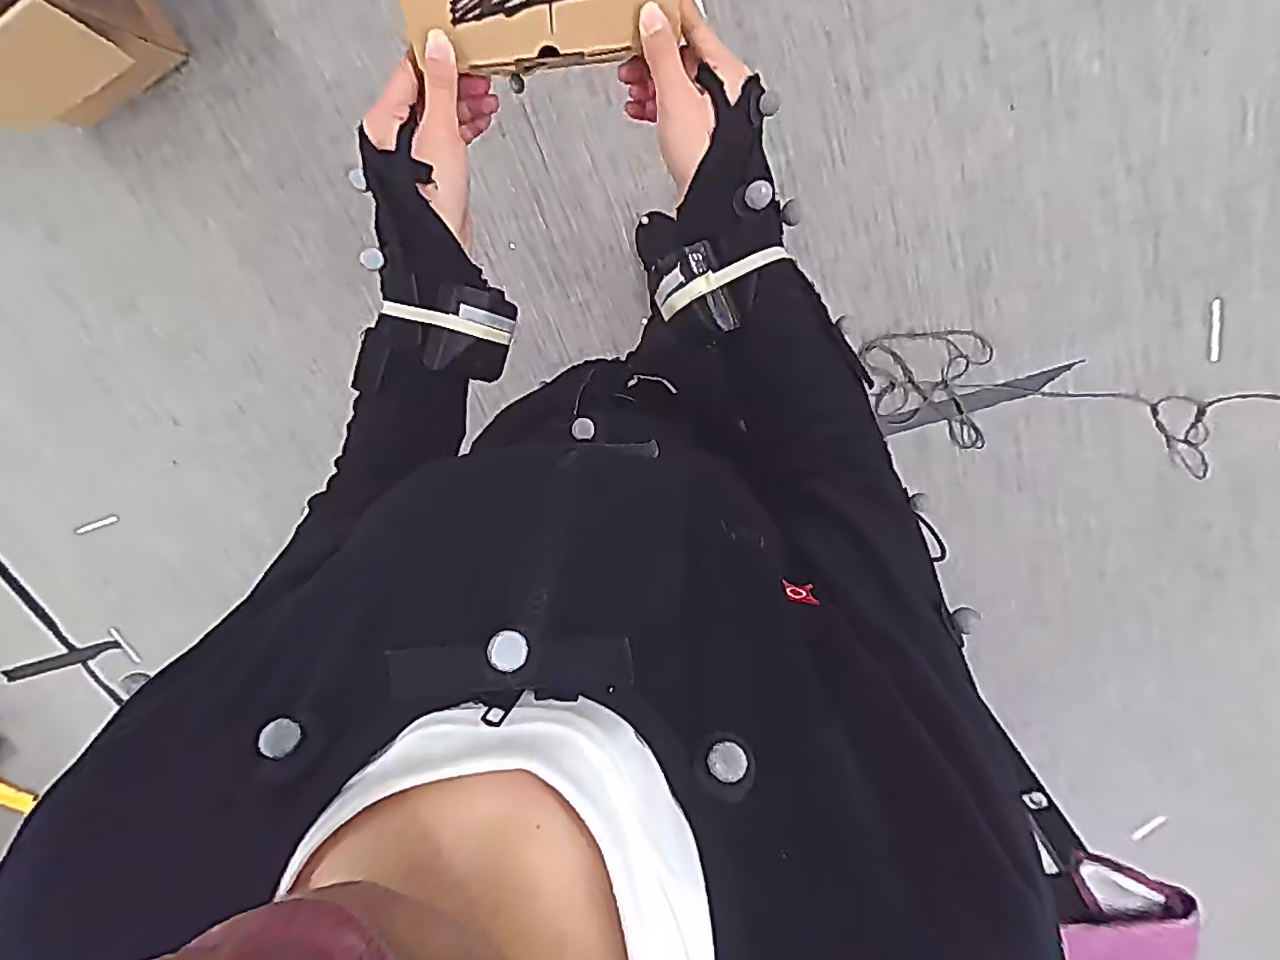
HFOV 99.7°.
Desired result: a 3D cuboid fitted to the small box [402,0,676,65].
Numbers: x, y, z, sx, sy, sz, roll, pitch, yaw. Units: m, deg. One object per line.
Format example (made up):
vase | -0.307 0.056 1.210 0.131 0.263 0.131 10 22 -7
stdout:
small box | -0.061 -0.381 0.344 0.168 0.176 0.179 -3 126 4
